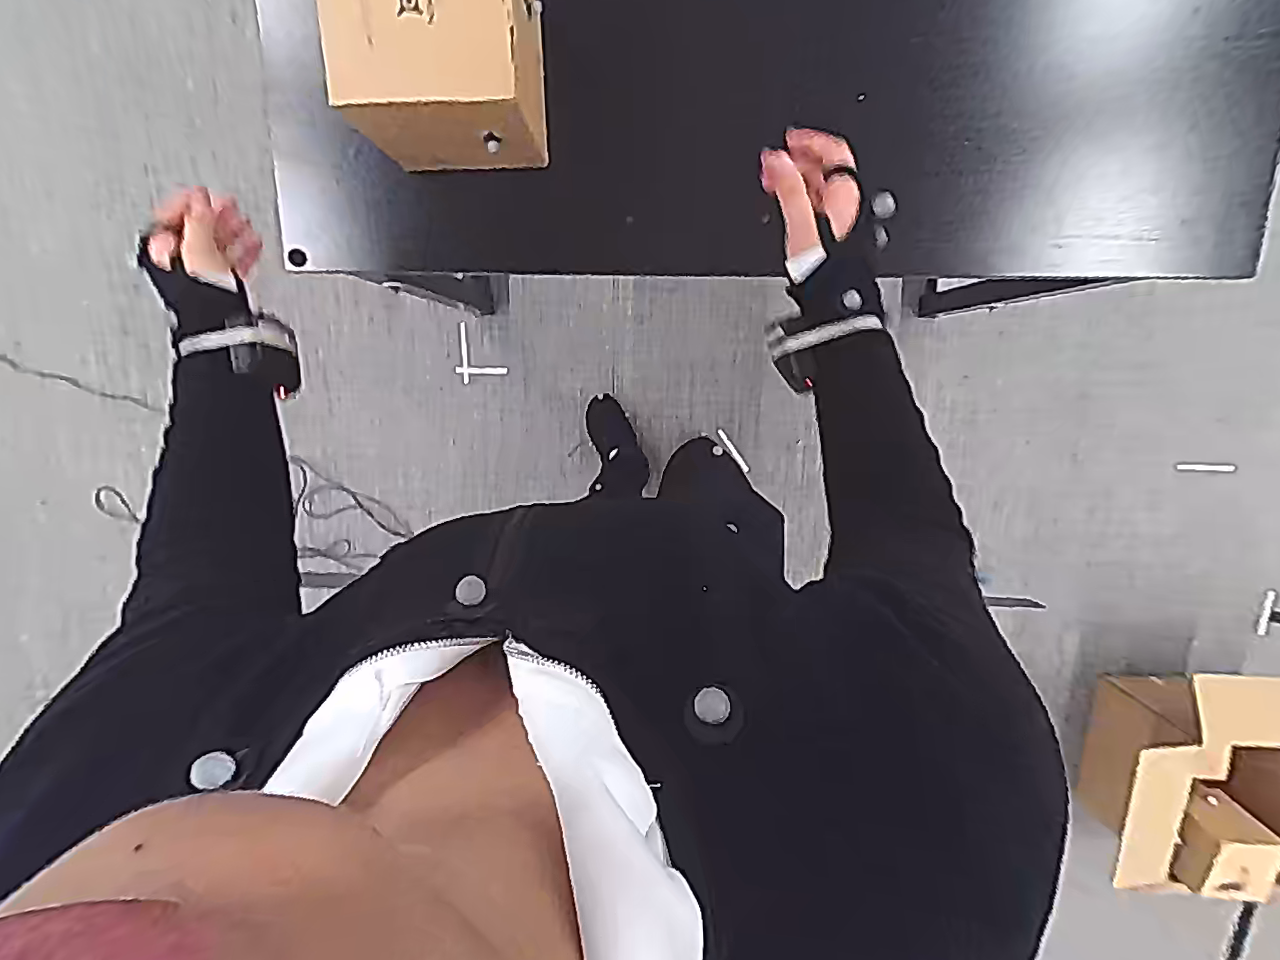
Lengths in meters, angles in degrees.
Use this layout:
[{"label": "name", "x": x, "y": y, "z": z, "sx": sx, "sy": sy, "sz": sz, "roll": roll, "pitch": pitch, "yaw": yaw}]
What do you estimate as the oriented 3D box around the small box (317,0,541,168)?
[{"label": "small box", "x": -0.203, "y": -0.444, "z": 0.562, "sx": 0.179, "sy": 0.176, "sz": 0.168, "roll": -2, "pitch": 101, "yaw": 1}]
